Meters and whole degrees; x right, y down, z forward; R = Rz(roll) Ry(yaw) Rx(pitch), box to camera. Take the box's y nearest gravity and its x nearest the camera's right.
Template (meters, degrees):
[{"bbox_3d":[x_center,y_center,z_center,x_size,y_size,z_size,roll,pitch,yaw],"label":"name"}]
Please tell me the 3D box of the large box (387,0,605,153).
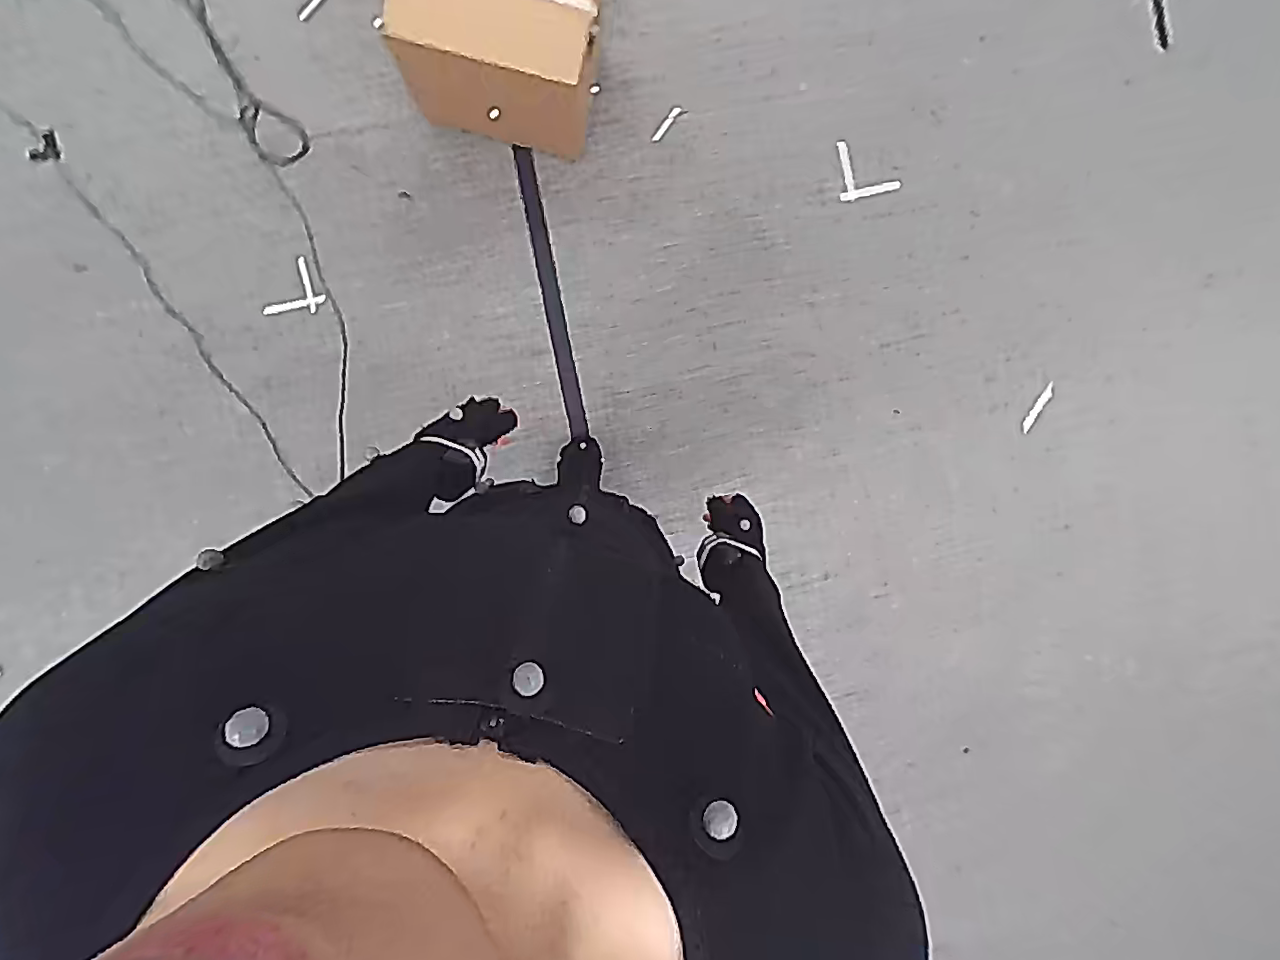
[{"bbox_3d":[-0.300,-1.026,1.248,0.408,0.320,0.320,11,92,-5],"label":"large box"}]
